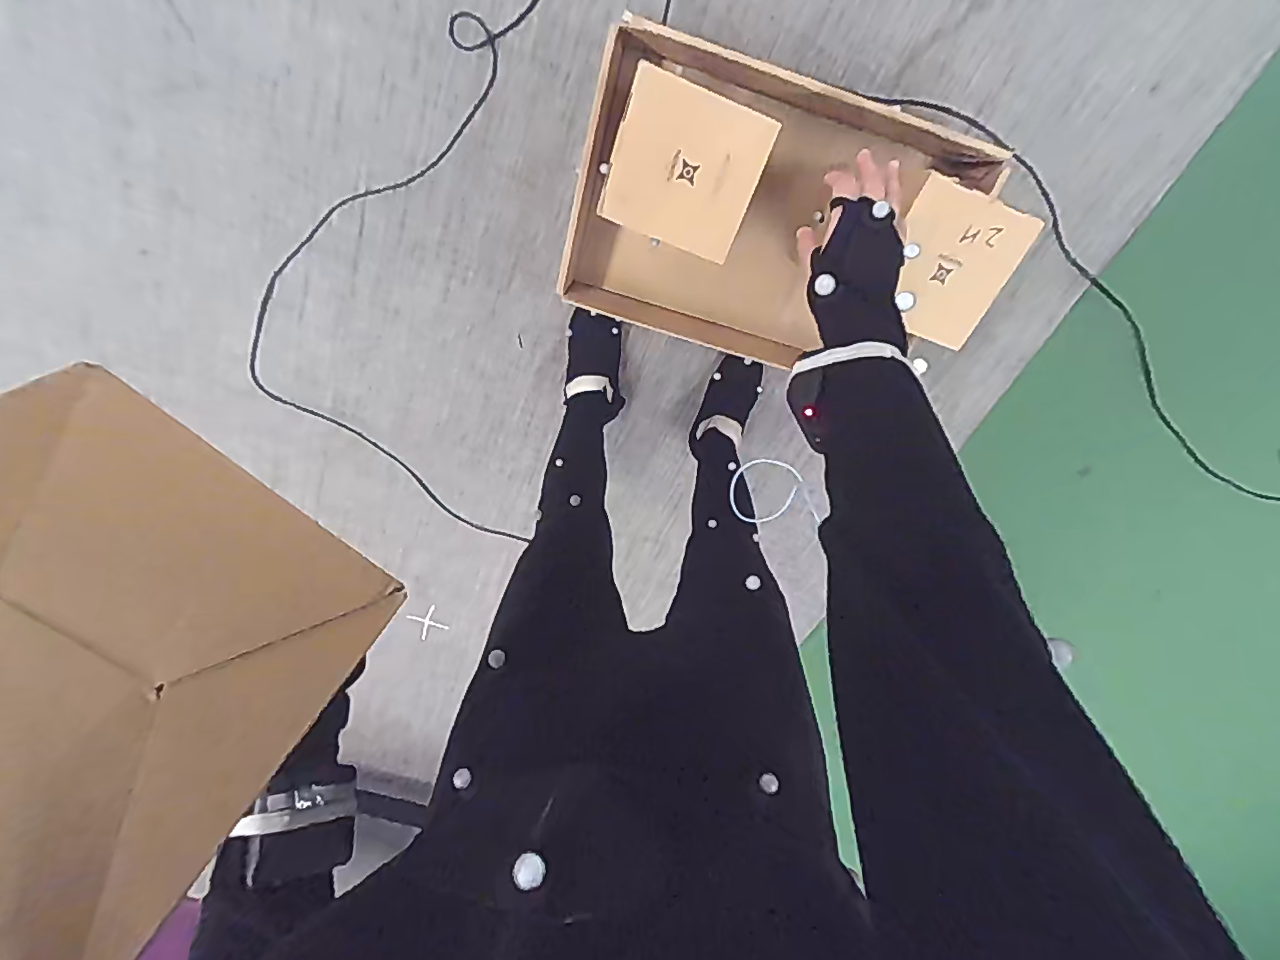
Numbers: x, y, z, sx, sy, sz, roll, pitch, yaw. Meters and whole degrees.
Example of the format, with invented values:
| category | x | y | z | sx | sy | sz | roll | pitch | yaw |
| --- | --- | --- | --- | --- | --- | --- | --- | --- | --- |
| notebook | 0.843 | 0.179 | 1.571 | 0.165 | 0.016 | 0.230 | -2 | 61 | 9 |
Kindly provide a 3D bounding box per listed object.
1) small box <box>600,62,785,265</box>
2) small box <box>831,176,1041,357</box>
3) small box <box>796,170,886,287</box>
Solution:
| category | x | y | z | sx | sy | sz | roll | pitch | yaw |
| --- | --- | --- | --- | --- | --- | --- | --- | --- | --- |
| small box | 0.061 | -0.409 | 0.714 | 0.179 | 0.176 | 0.168 | 19 | 120 | -10 |
| small box | 0.392 | -0.304 | 0.761 | 0.168 | 0.176 | 0.179 | 19 | 119 | -10 |
| small box | 0.384 | -0.393 | 0.900 | 0.179 | 0.176 | 0.168 | 19 | 119 | -8 |
